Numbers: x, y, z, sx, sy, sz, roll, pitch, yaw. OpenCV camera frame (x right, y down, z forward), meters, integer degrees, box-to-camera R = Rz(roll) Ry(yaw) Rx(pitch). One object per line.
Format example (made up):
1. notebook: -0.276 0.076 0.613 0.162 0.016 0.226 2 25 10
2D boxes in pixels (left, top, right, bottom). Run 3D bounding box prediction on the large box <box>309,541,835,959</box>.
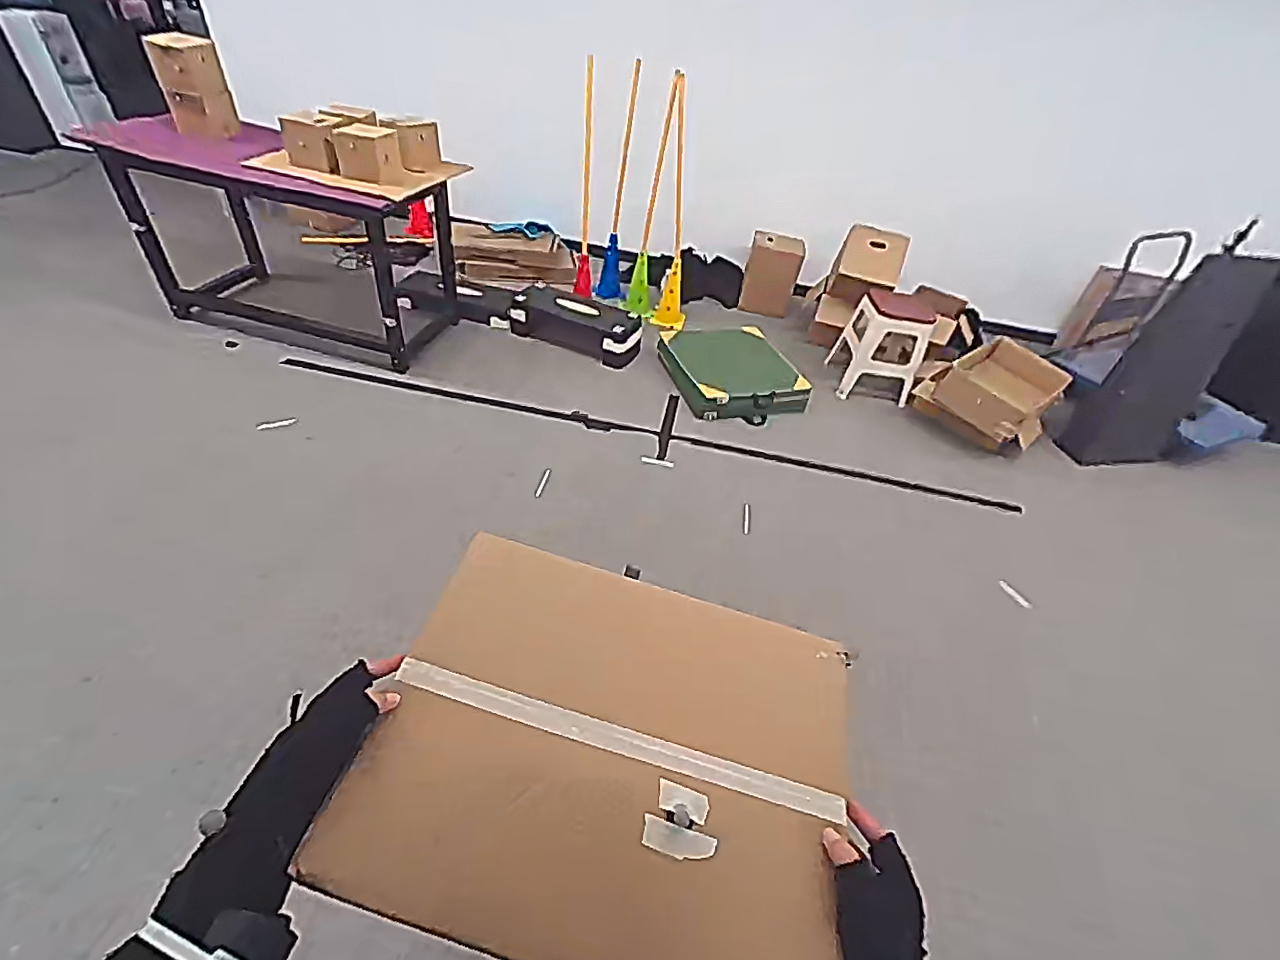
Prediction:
1. large box: -0.044 0.323 0.597 0.408 0.320 0.320 17 50 3
